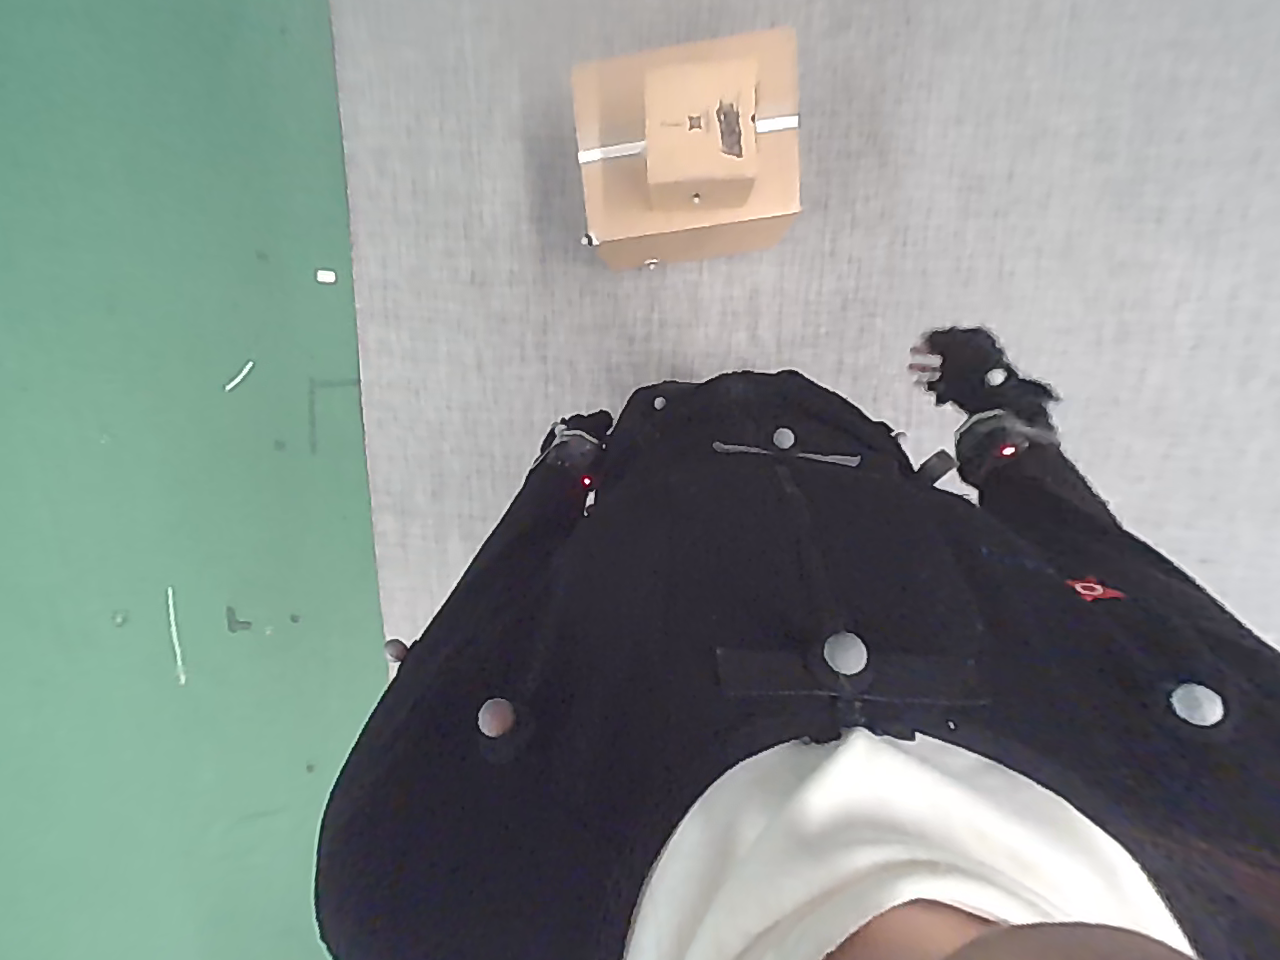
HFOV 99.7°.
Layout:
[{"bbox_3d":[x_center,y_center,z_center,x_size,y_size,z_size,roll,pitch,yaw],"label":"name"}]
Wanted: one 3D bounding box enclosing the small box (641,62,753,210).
[{"bbox_3d":[0.096,-0.579,0.933,0.179,0.176,0.168,-1,101,6],"label":"small box"}]
